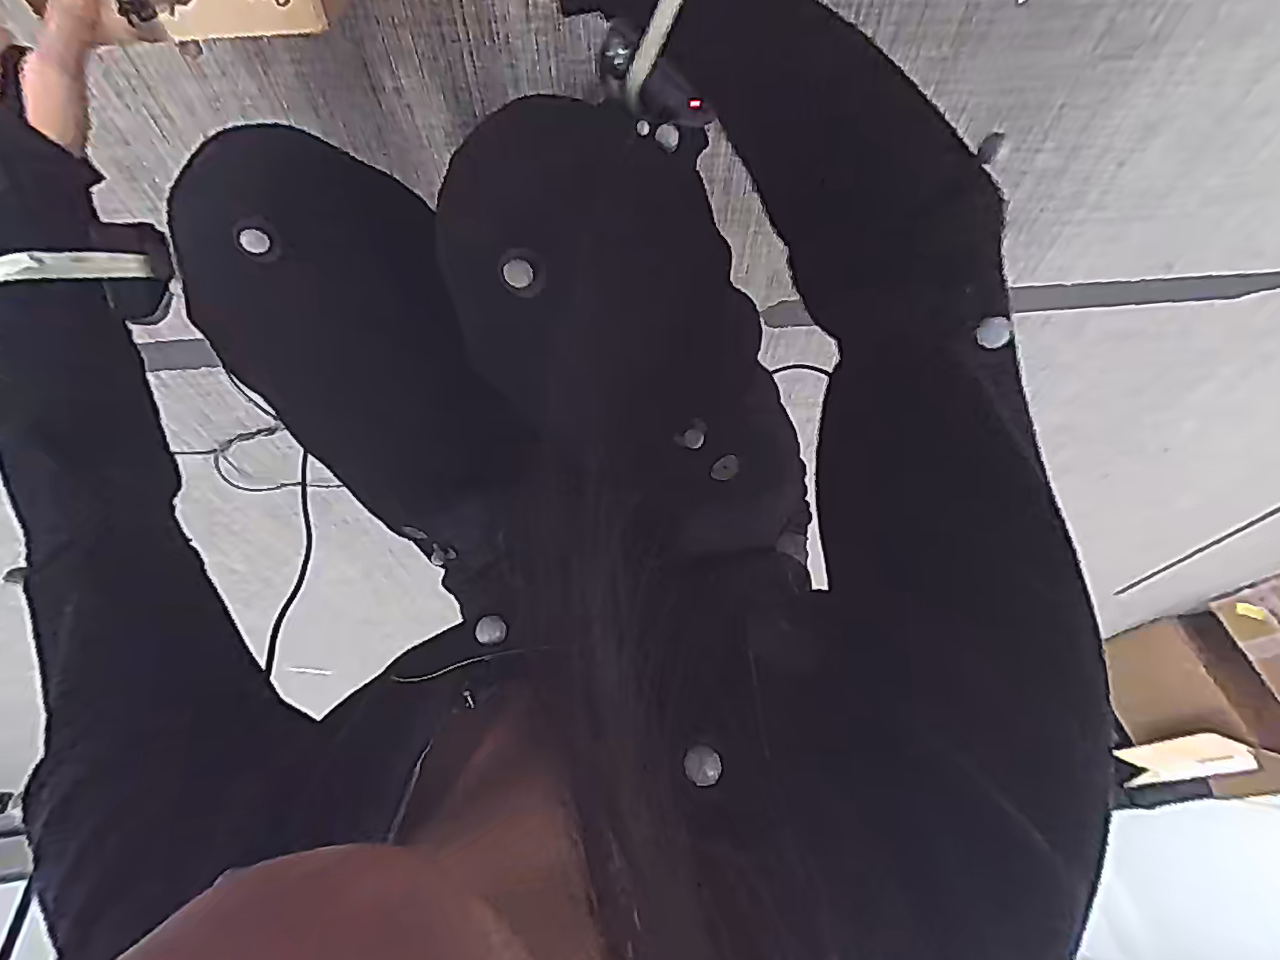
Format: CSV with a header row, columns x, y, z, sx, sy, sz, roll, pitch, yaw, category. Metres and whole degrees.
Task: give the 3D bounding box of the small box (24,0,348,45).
x,y,z,sx,sy,sz,roll,pitch,yaw,category
-0.288,-0.391,0.316,0.168,0.176,0.179,-7,145,-5,small box
